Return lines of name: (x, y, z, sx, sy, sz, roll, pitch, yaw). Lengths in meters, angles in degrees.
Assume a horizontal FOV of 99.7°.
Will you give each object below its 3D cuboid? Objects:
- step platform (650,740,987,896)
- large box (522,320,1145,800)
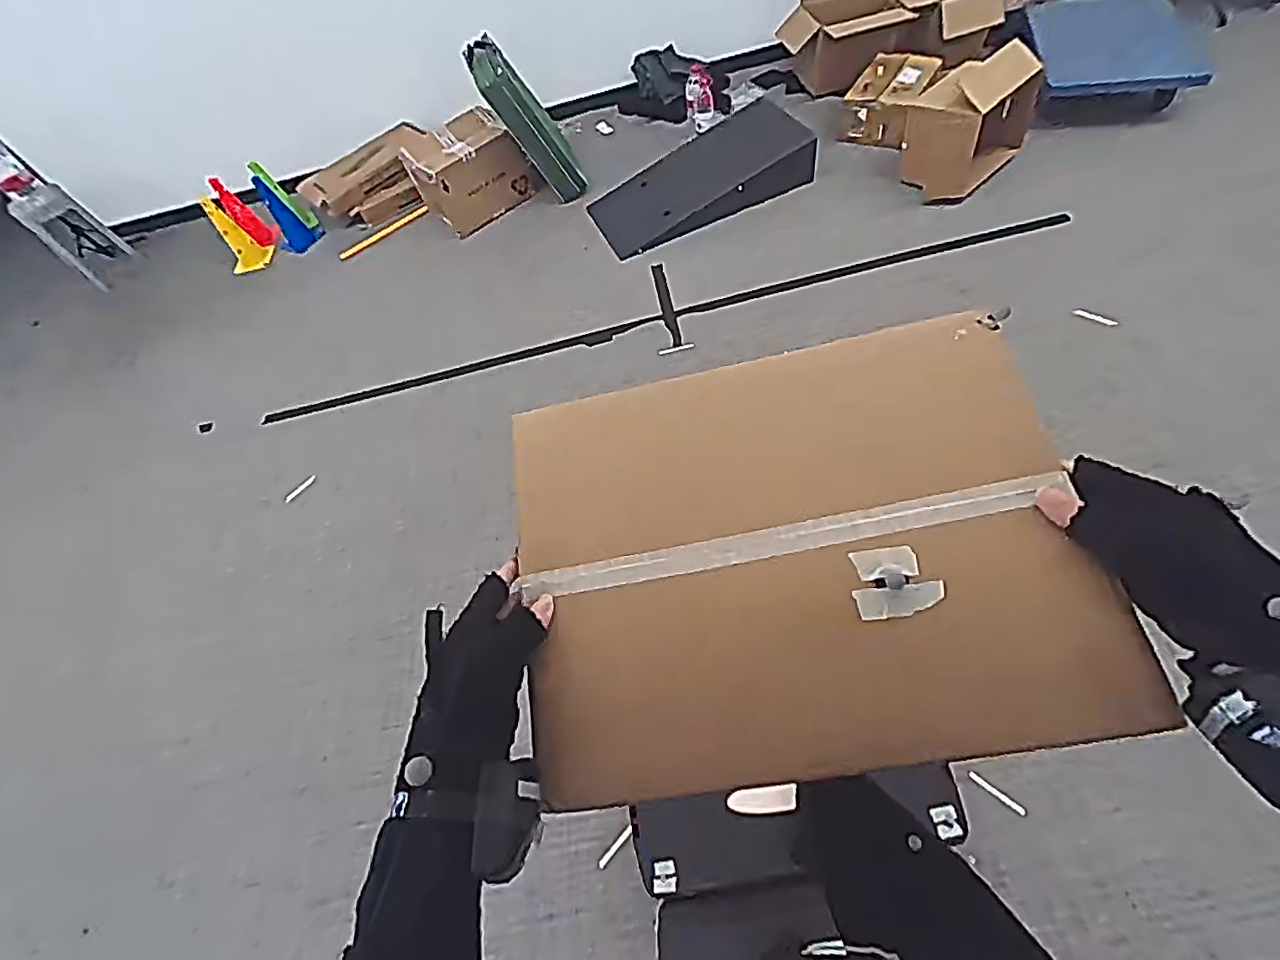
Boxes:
step platform: (0.362, 0.686, 1.197, 0.684, 0.204, 0.286, -14, 57, 3)
large box: (0.132, 0.099, 0.556, 0.408, 0.320, 0.320, -12, 68, 6)
